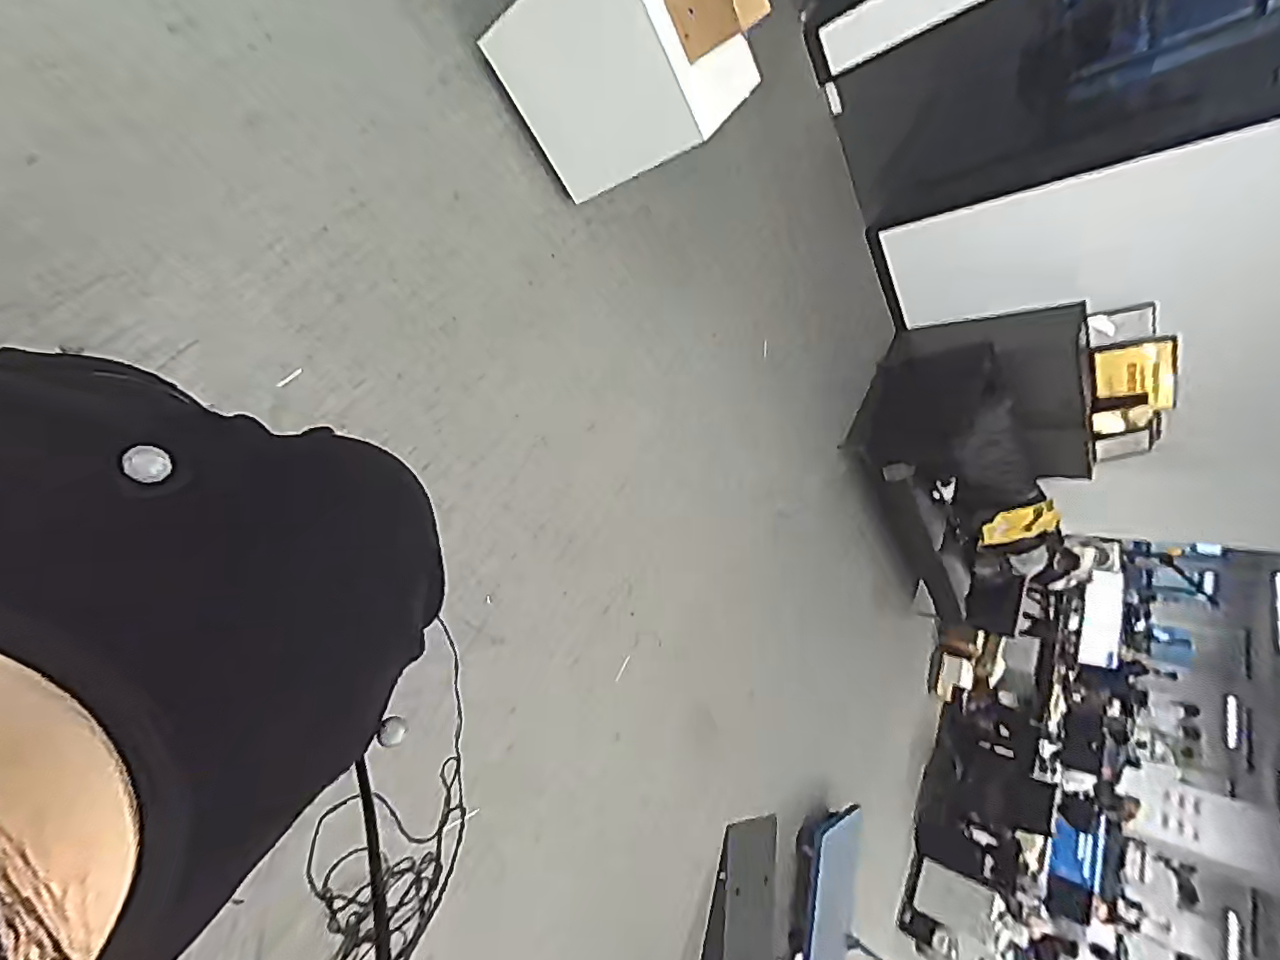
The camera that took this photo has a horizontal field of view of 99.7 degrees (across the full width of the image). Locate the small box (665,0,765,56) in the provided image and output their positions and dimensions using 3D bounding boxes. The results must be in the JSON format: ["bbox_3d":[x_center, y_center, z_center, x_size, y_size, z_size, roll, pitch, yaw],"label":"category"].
[{"bbox_3d":[0.181,-1.208,1.343,0.179,0.176,0.168,-56,129,-28],"label":"small box"}]
